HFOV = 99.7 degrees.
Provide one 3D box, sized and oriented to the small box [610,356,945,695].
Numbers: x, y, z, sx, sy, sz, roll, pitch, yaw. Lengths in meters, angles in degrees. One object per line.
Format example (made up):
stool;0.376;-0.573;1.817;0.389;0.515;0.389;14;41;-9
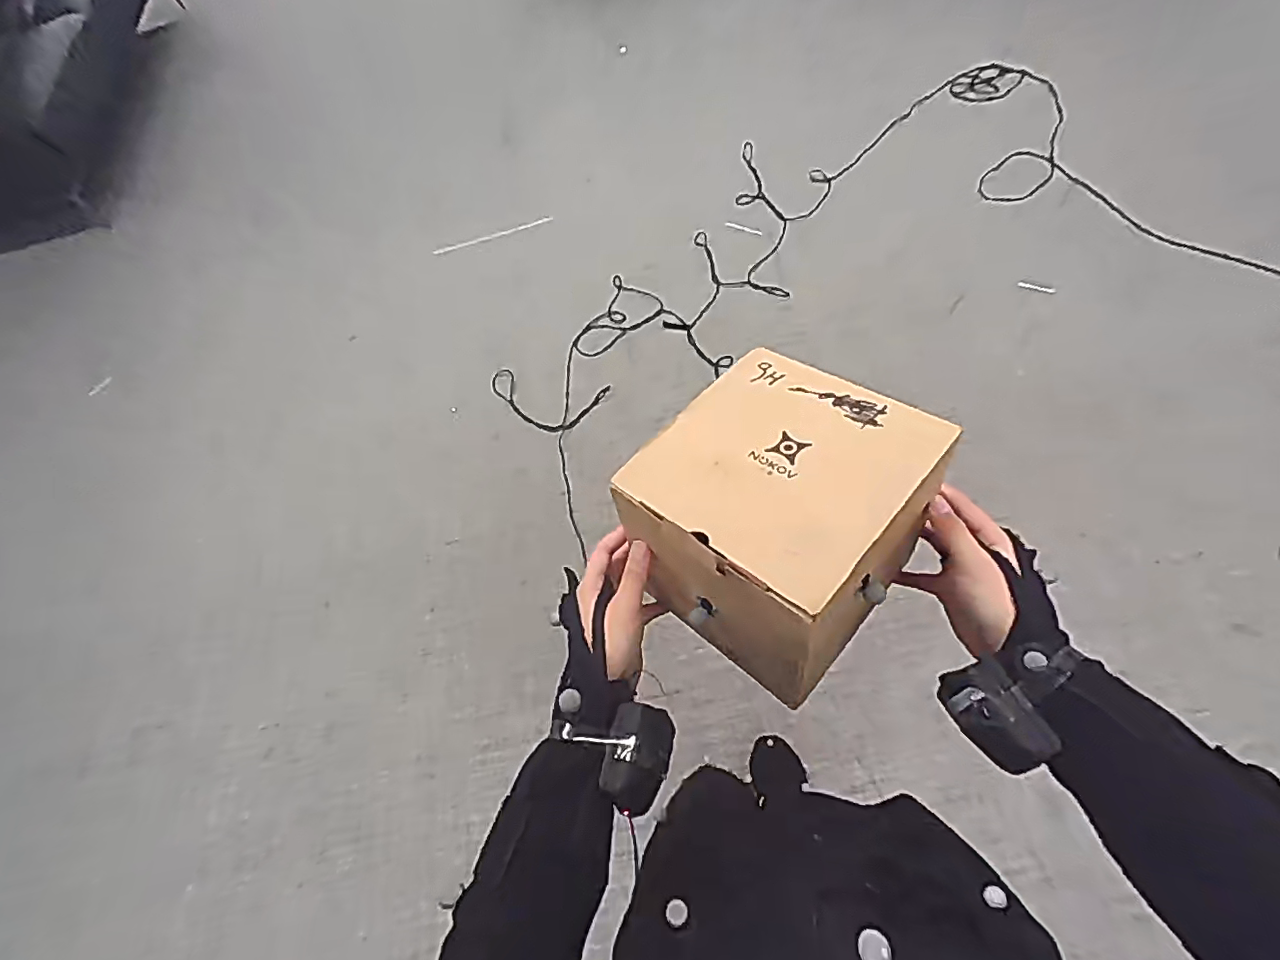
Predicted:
small box;0.107;0.038;0.435;0.168;0.176;0.179;33;65;32
